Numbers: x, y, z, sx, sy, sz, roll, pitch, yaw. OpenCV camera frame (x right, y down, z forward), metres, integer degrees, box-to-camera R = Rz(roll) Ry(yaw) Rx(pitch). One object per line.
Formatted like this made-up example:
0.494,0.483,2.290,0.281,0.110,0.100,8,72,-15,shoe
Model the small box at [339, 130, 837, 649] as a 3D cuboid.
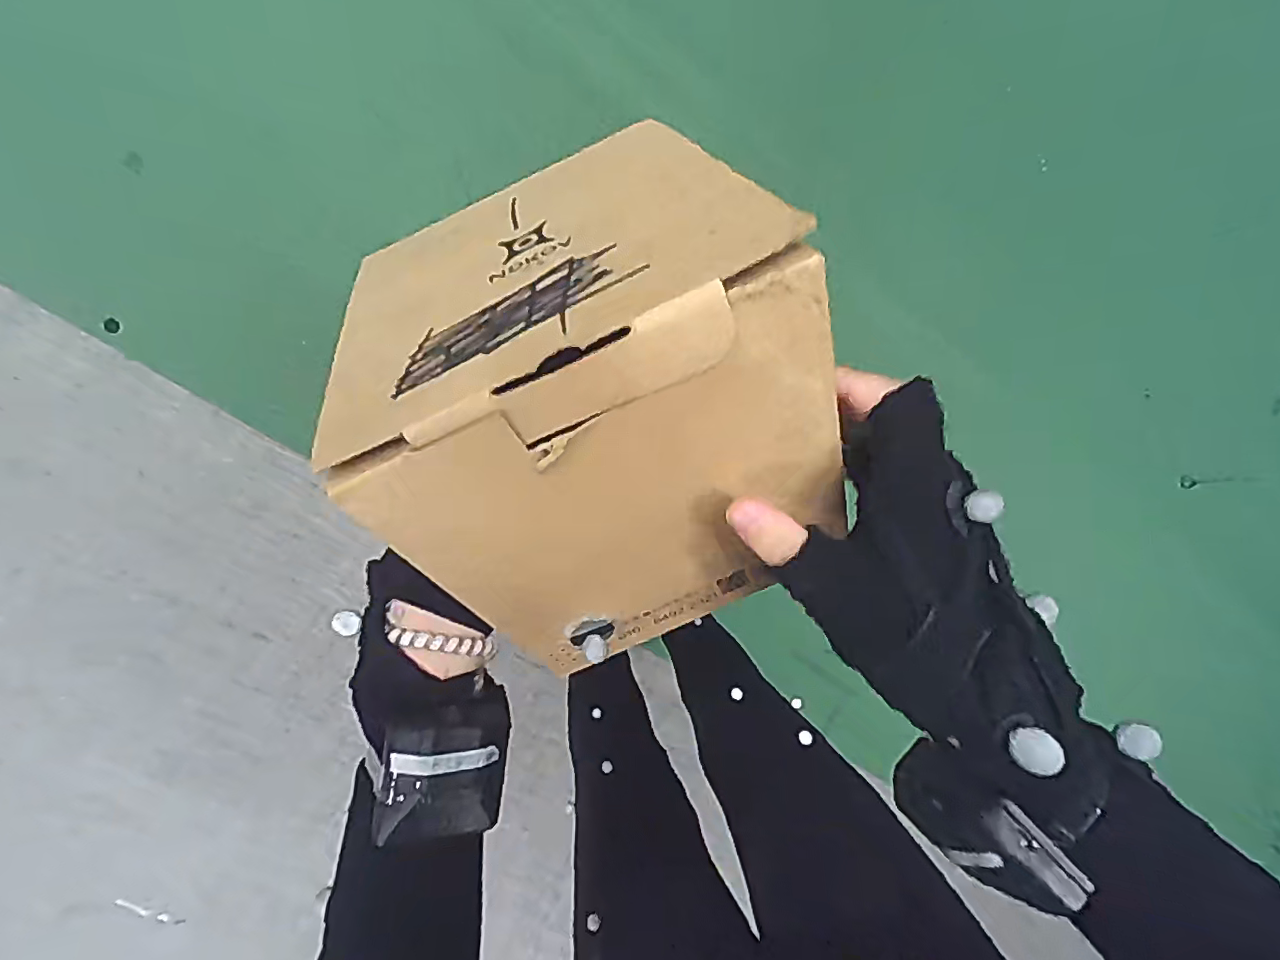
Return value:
-0.015,-0.036,0.277,0.168,0.179,0.176,-24,136,3,small box
